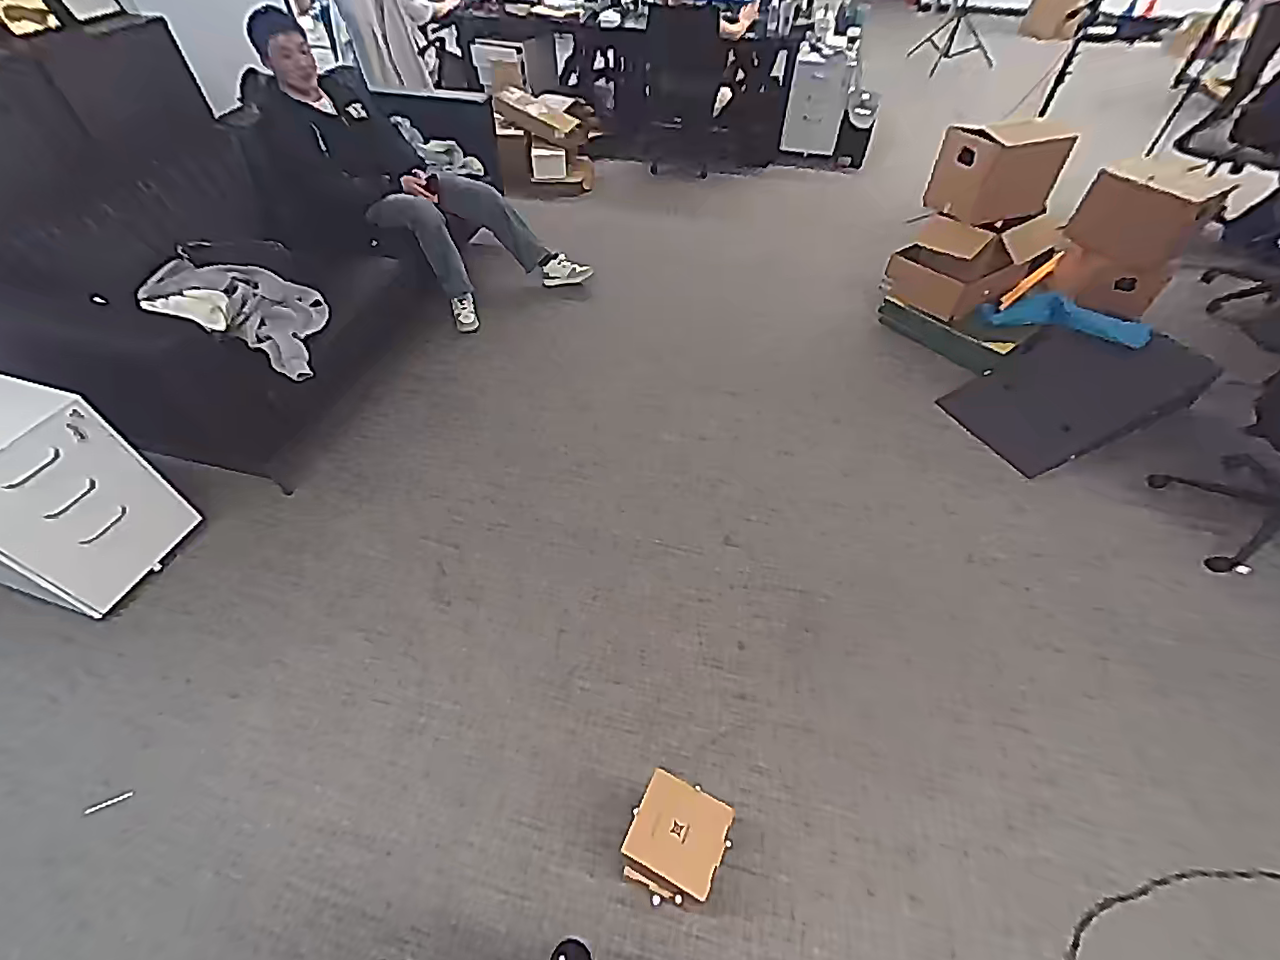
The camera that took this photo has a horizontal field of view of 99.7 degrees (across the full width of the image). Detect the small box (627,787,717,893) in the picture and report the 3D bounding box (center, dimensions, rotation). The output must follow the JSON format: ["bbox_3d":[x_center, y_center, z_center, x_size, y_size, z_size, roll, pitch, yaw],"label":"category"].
[{"bbox_3d":[0.071,0.825,1.236,0.179,0.176,0.168,-7,48,-3],"label":"small box"}]

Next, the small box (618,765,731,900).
[{"bbox_3d":[0.071,0.729,1.115,0.179,0.176,0.168,20,51,19],"label":"small box"}]
